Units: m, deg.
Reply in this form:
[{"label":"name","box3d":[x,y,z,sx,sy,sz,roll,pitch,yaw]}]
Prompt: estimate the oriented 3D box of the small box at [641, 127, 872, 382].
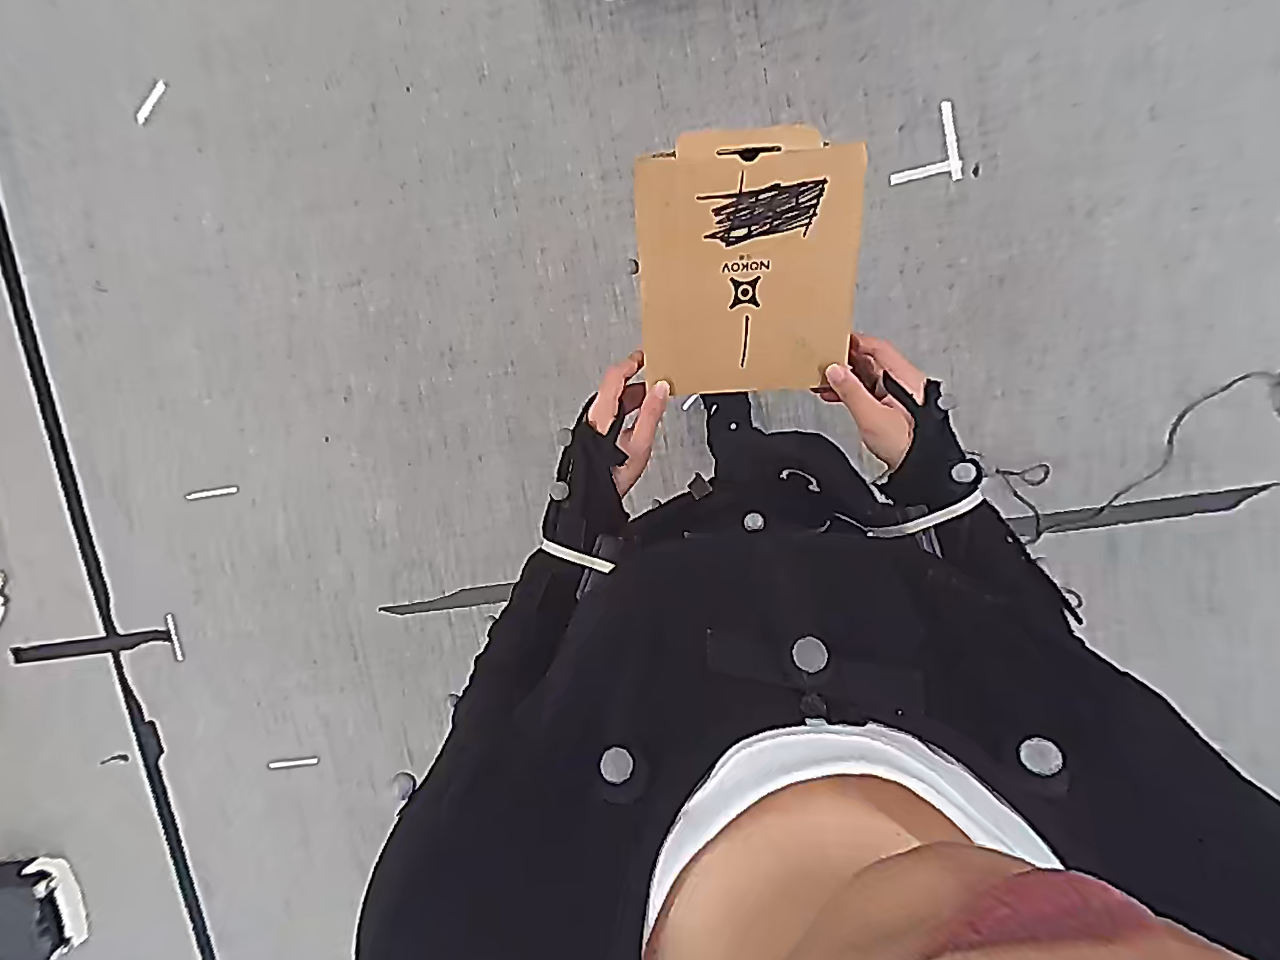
[{"label":"small box","box3d":[0.085,-0.195,0.484,0.168,0.176,0.179,-2,114,2]}]
